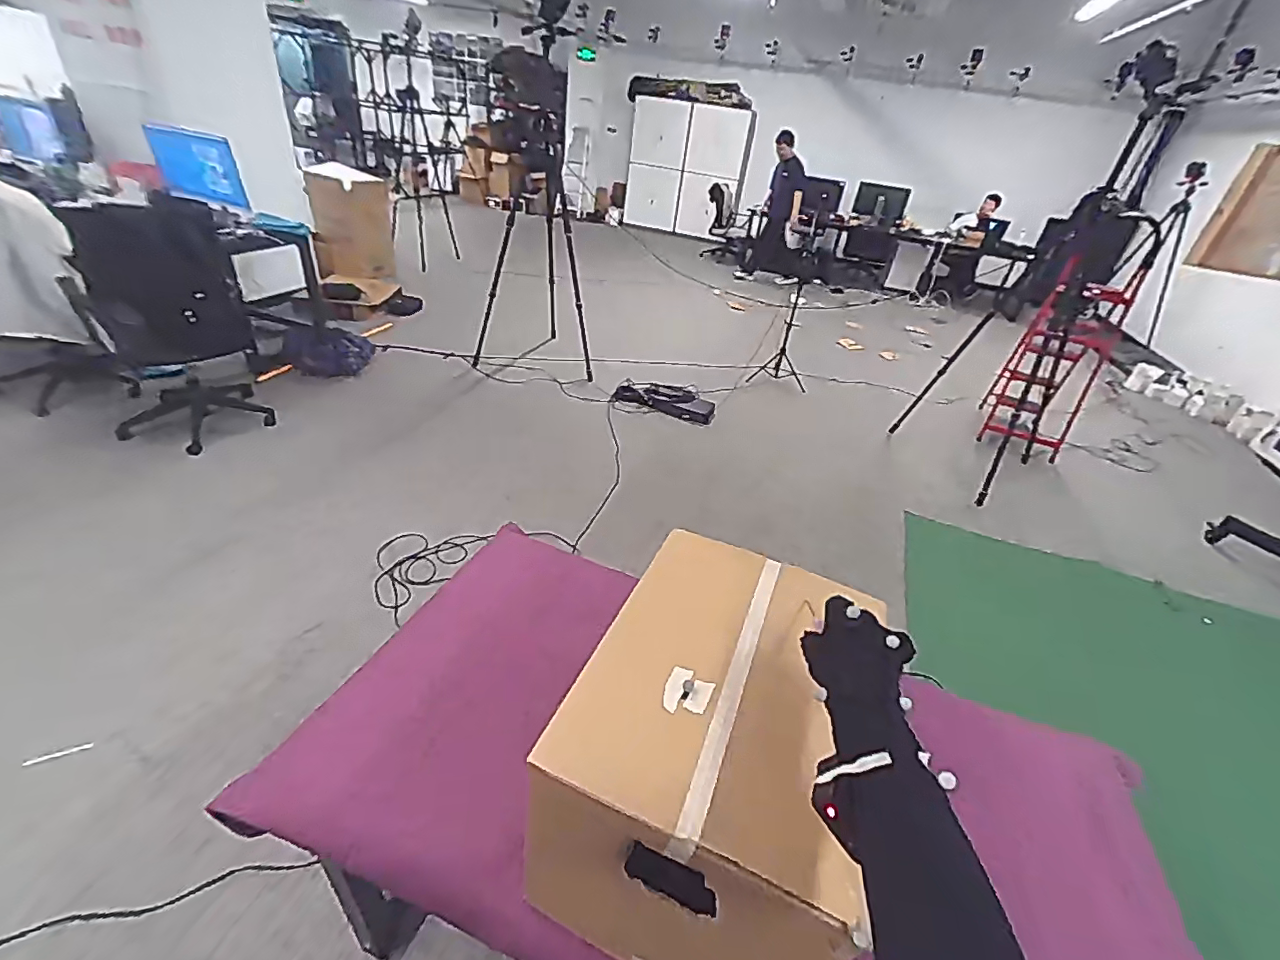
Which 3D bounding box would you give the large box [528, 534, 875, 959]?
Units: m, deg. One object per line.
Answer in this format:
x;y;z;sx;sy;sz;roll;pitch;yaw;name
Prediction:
0.090;0.344;0.710;0.320;0.320;0.408;19;35;15;large box
